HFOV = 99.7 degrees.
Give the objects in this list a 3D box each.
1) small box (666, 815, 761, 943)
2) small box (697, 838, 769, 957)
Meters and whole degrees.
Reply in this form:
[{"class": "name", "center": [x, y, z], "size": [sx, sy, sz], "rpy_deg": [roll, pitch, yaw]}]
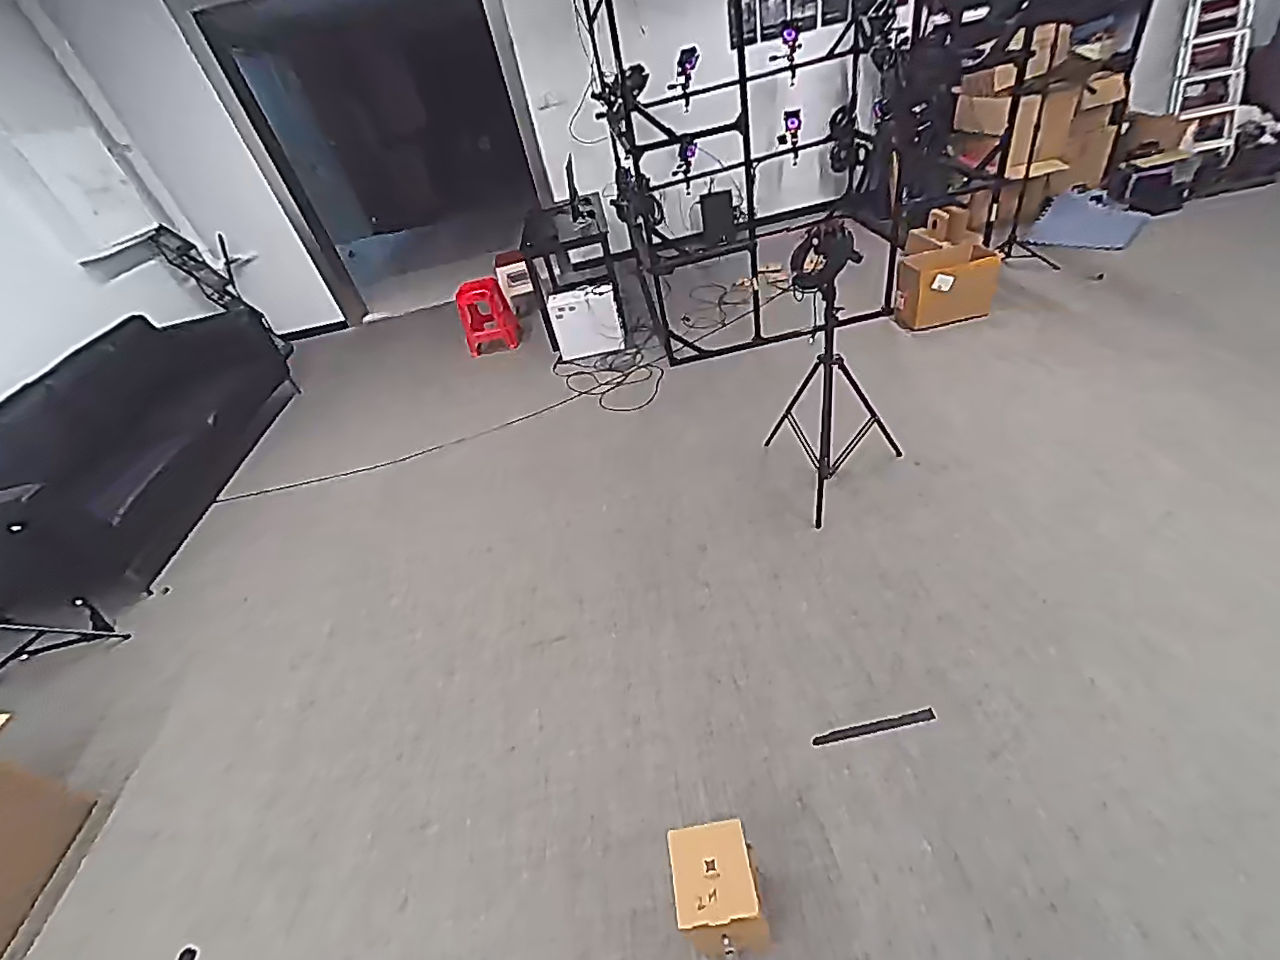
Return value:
[{"class": "small box", "center": [0.158, 0.862, 1.167], "size": [0.168, 0.176, 0.179], "rpy_deg": [-13, 39, 4]}, {"class": "small box", "center": [0.199, 0.982, 1.272], "size": [0.168, 0.176, 0.179], "rpy_deg": [-12, 38, 5]}]
